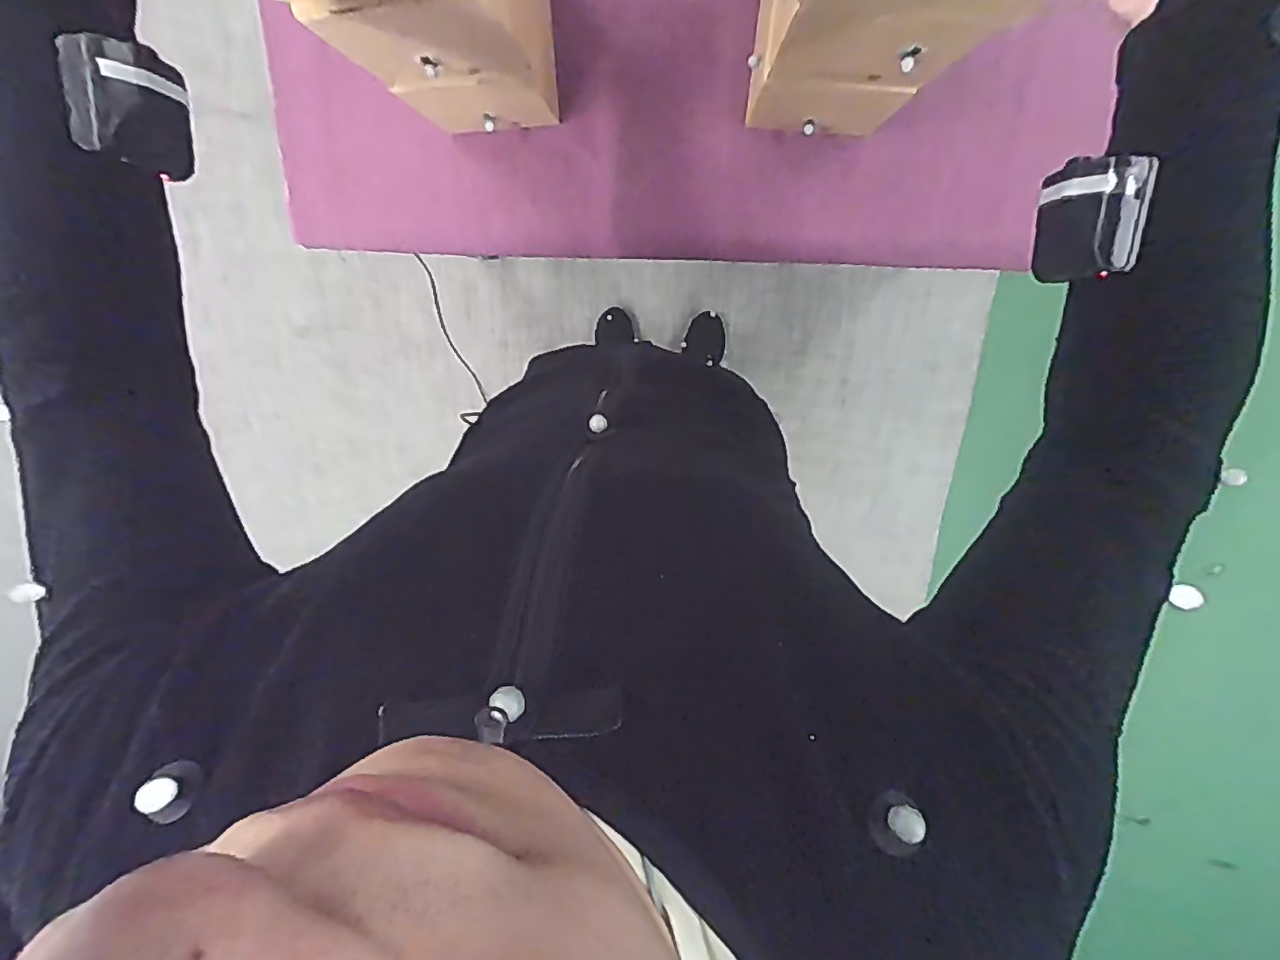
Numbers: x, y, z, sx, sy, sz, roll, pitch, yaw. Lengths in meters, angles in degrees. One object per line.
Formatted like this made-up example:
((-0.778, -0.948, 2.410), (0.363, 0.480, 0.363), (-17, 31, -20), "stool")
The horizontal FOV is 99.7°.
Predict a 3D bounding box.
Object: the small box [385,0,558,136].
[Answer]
((-0.203, -0.548, 0.658), (0.168, 0.176, 0.179), (-1, 108, 6), "small box")

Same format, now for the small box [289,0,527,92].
((-0.214, -0.500, 0.503), (0.168, 0.176, 0.179), (-3, 108, 5), "small box")

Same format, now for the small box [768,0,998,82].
((0.213, -0.478, 0.472), (0.168, 0.176, 0.179), (5, 109, 3), "small box")
